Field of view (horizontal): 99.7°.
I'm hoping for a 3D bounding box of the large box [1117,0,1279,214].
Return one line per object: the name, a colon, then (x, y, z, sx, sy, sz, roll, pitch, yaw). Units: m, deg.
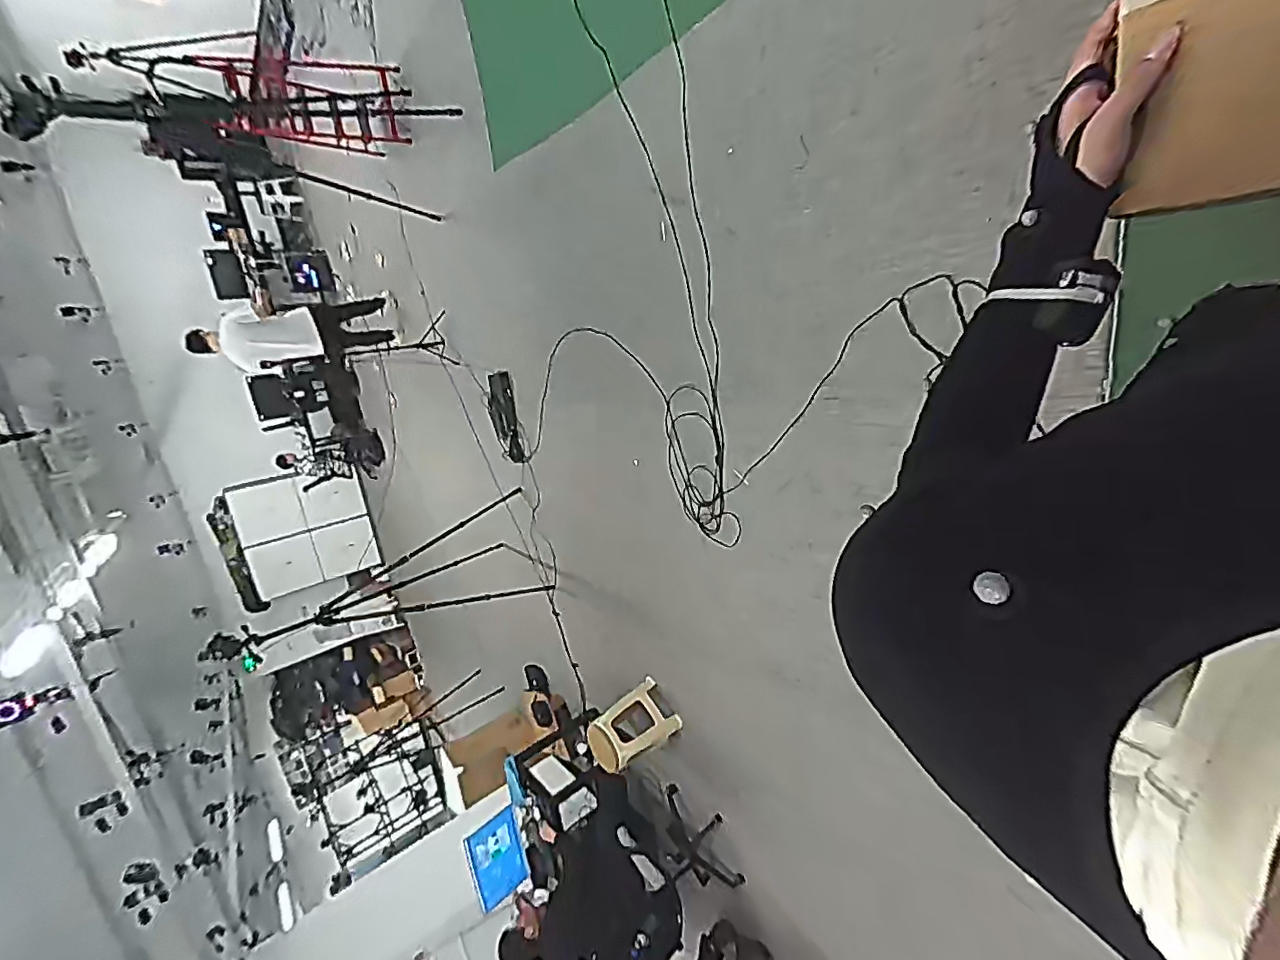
large box: (0.617, -0.396, 0.360, 0.408, 0.320, 0.320, 10, 115, 49)
